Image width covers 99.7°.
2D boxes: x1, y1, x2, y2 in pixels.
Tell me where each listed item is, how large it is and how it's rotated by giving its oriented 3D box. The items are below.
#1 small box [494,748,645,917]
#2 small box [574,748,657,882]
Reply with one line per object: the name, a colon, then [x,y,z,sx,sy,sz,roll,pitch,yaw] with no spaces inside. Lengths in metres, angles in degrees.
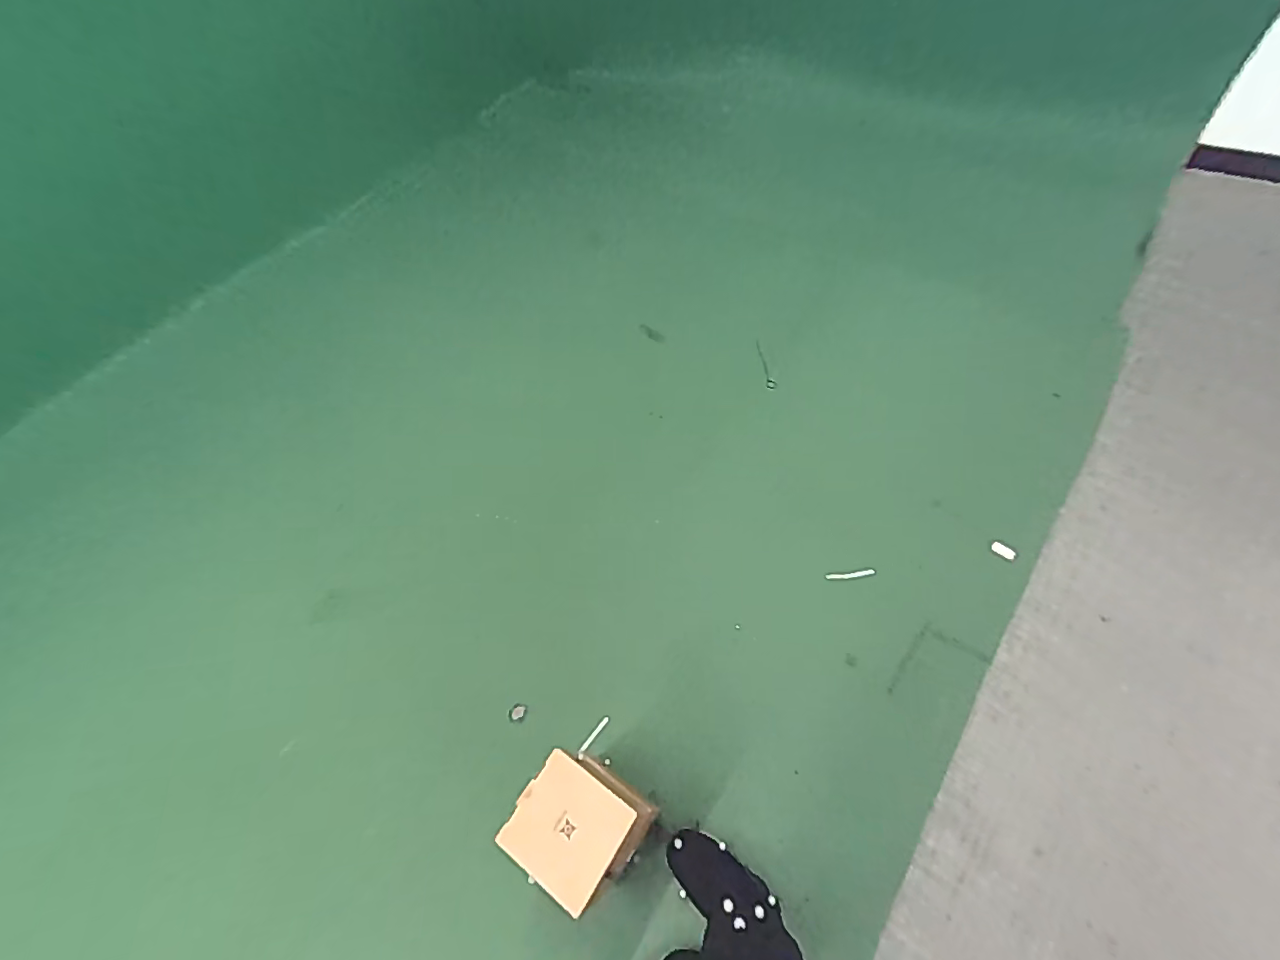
small box: [-0.108,0.590,0.927,0.179,0.176,0.168,27,67,23]
small box: [-0.085,0.665,1.070,0.179,0.176,0.168,28,68,22]
